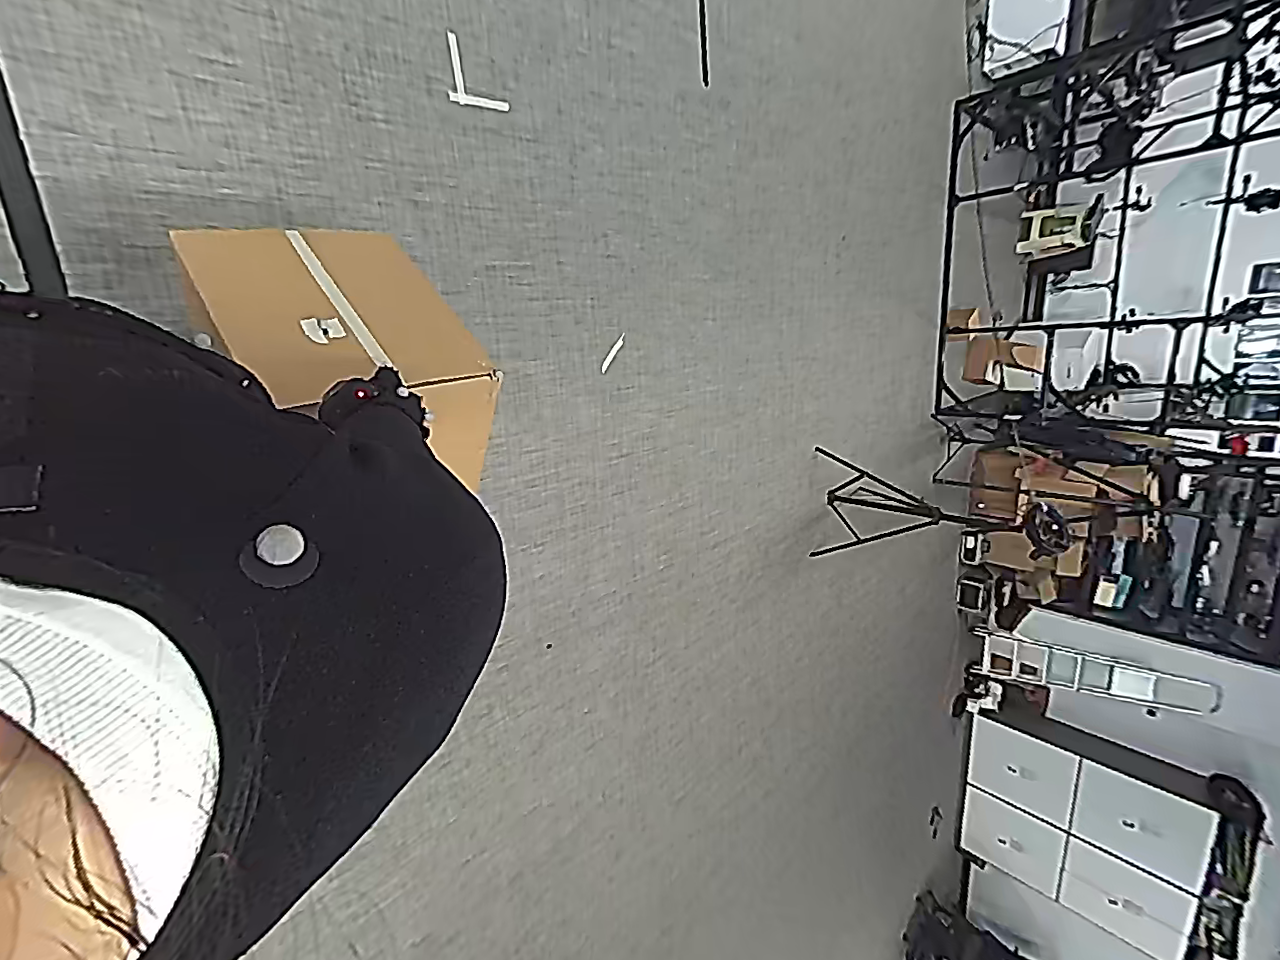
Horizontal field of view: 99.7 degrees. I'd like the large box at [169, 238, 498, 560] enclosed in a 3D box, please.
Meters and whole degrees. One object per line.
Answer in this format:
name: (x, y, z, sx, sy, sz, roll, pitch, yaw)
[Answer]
large box: (-0.499, -0.148, 0.897, 0.320, 0.408, 0.320, -22, 152, -40)
